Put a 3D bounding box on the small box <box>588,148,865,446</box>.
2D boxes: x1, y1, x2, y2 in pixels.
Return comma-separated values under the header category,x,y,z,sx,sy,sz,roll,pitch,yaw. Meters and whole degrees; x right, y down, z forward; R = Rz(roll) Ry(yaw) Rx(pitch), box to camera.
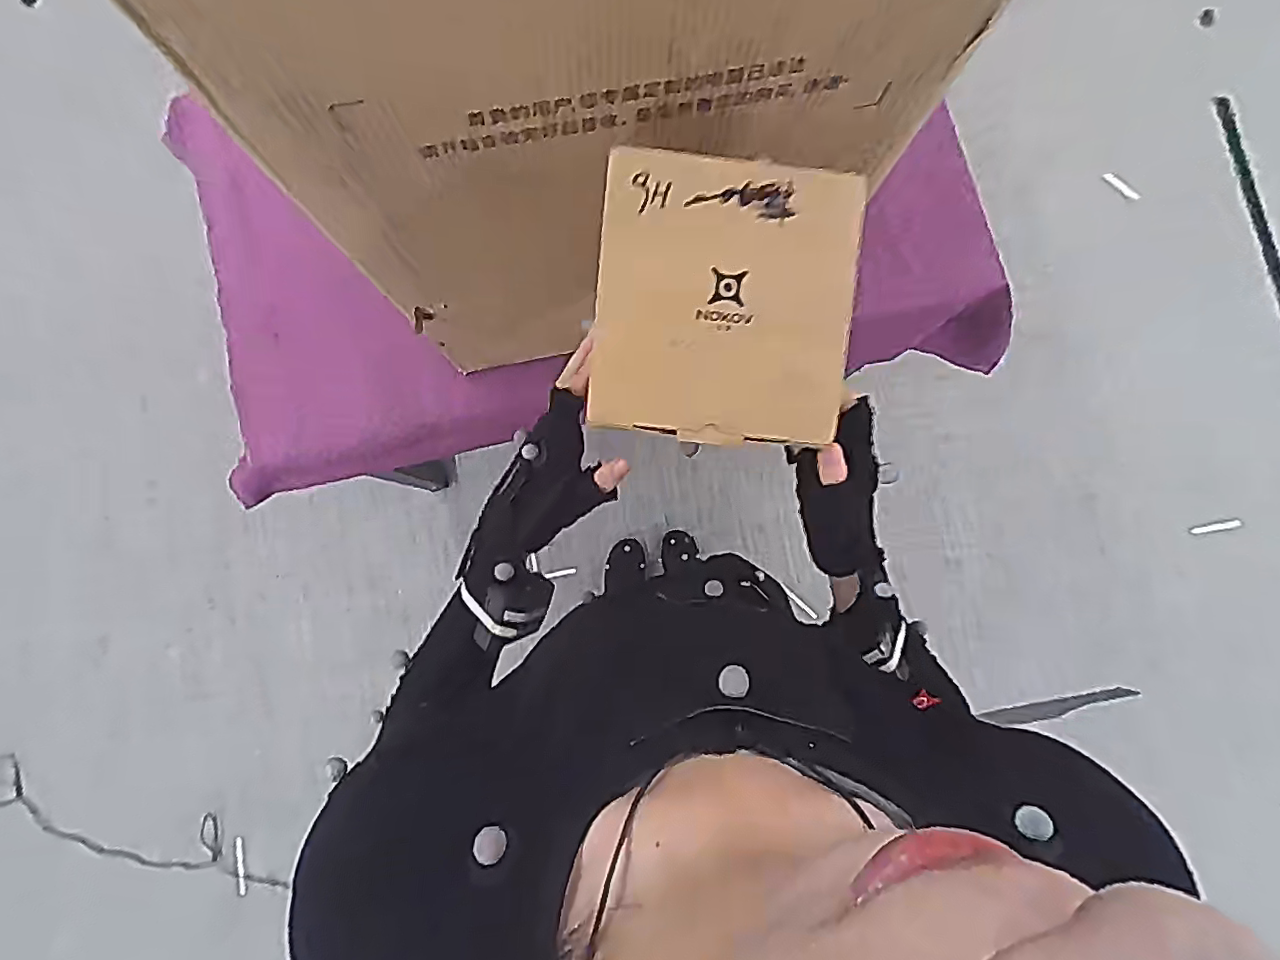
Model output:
category,x,y,z,sx,sy,sz,roll,pitch,yaw
small box,0.053,-0.122,0.428,0.168,0.176,0.179,5,94,-2
